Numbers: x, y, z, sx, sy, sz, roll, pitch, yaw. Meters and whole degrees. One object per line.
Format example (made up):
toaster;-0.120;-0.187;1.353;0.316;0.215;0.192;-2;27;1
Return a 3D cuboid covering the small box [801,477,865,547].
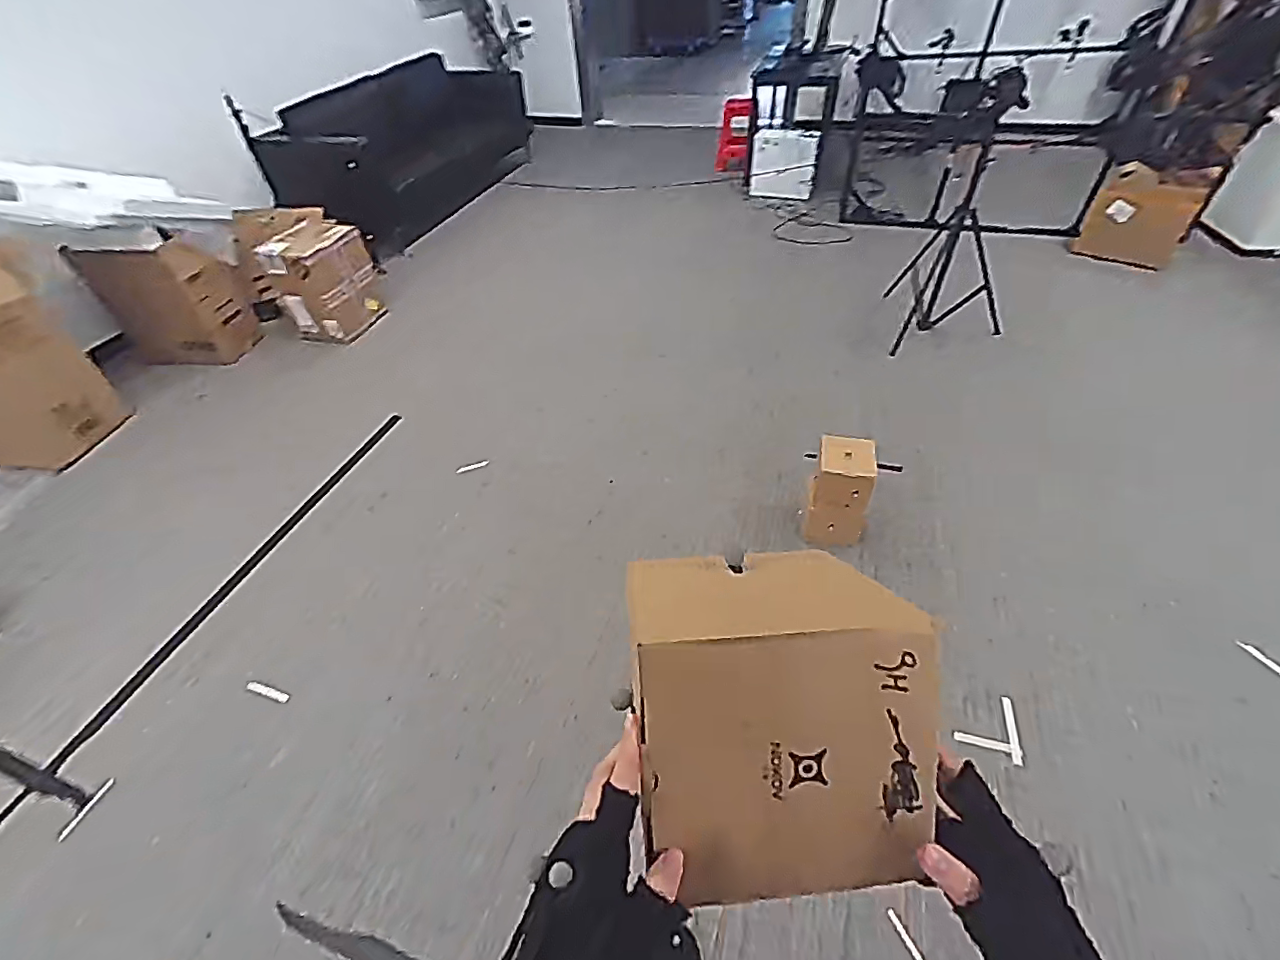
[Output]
small box;0.655;0.112;1.851;0.179;0.176;0.168;4;46;10

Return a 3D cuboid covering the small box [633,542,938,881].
small box;0.084;0.144;0.393;0.179;0.168;0.176;-3;6;-3

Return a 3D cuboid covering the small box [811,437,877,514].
small box;0.654;-0.011;1.744;0.168;0.176;0.179;8;46;11
